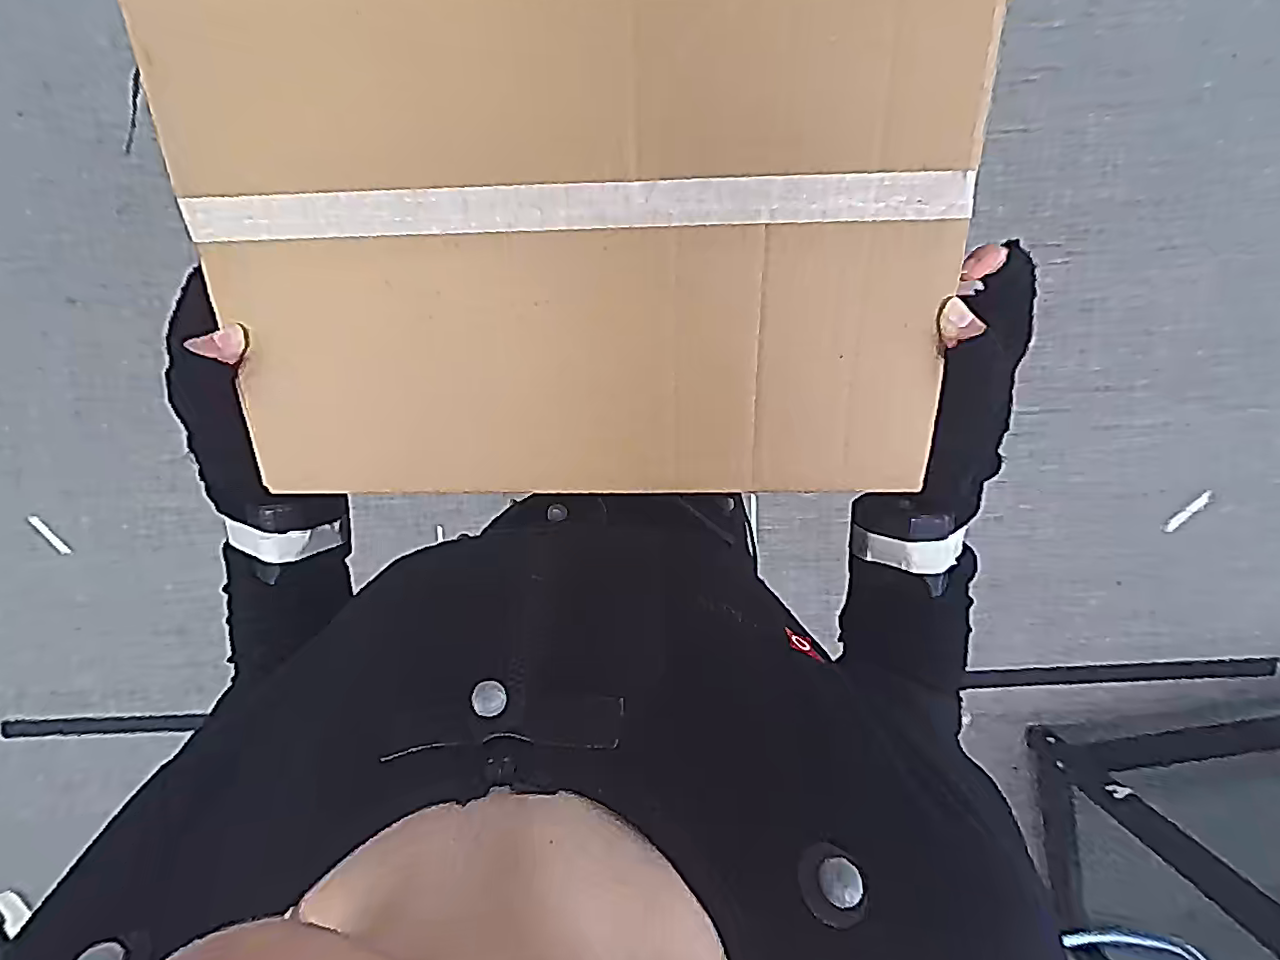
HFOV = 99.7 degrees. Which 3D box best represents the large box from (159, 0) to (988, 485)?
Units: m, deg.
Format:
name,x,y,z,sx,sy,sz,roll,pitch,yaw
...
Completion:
name,x,y,z,sx,sy,sz,roll,pitch,yaw
large box,-0.031,-0.195,0.427,0.408,0.320,0.320,0,111,3
